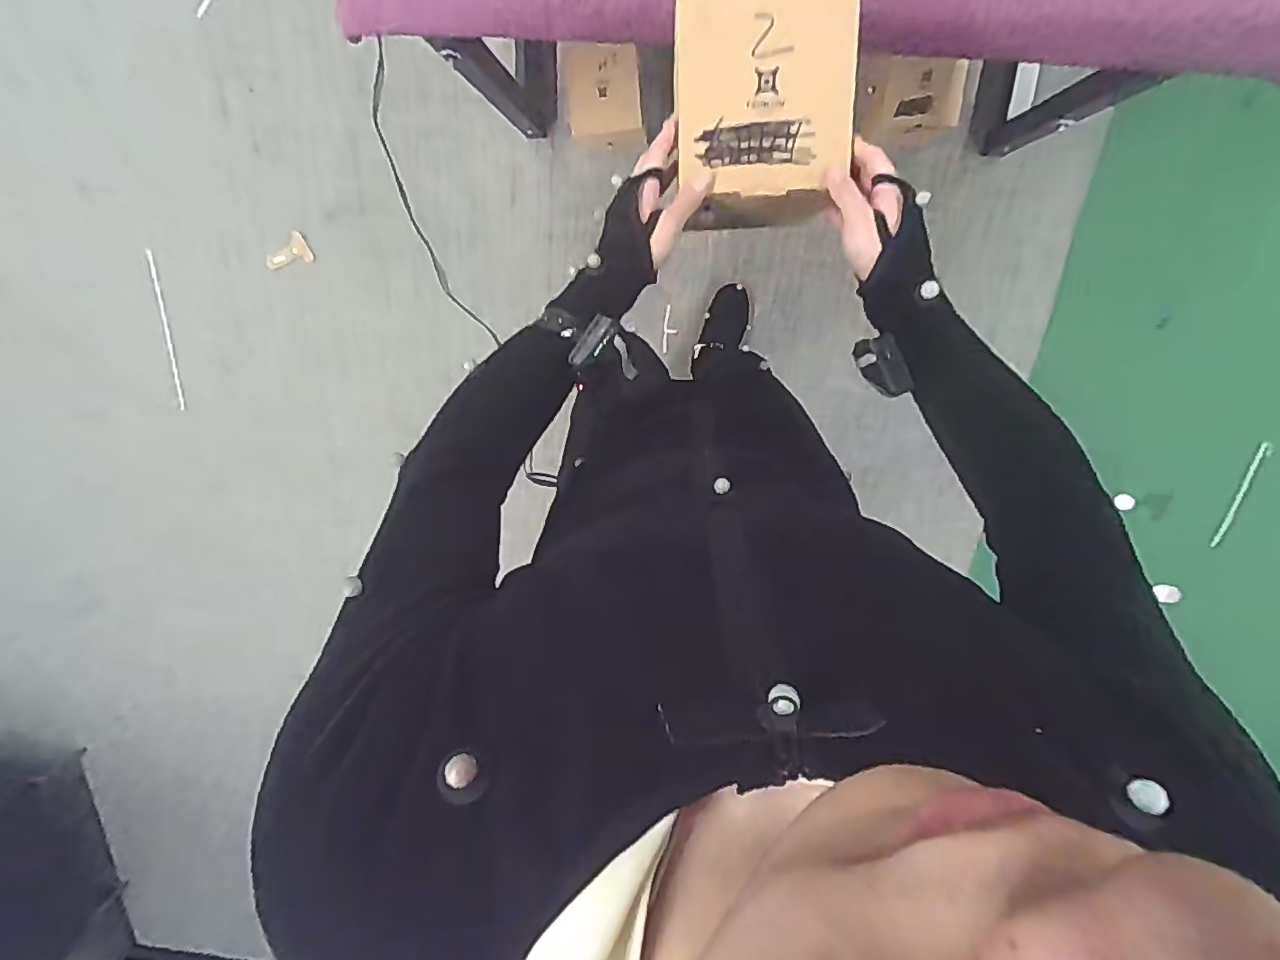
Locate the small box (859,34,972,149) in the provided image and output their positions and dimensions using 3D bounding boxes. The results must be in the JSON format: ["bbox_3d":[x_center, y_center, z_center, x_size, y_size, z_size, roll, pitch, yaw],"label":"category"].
[{"bbox_3d":[0.605,-0.860,1.214,0.168,0.176,0.179,2,108,4],"label":"small box"}]

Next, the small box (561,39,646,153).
[{"bbox_3d":[-0.078,-0.887,1.269,0.168,0.176,0.179,-3,108,6],"label":"small box"}]

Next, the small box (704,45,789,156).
[{"bbox_3d":[0.238,-0.866,1.248,0.179,0.176,0.168,-1,107,6],"label":"small box"}]

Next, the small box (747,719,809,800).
[{"bbox_3d":[0.459,0.937,1.824,0.168,0.176,0.179,5,110,3],"label":"small box"}]
